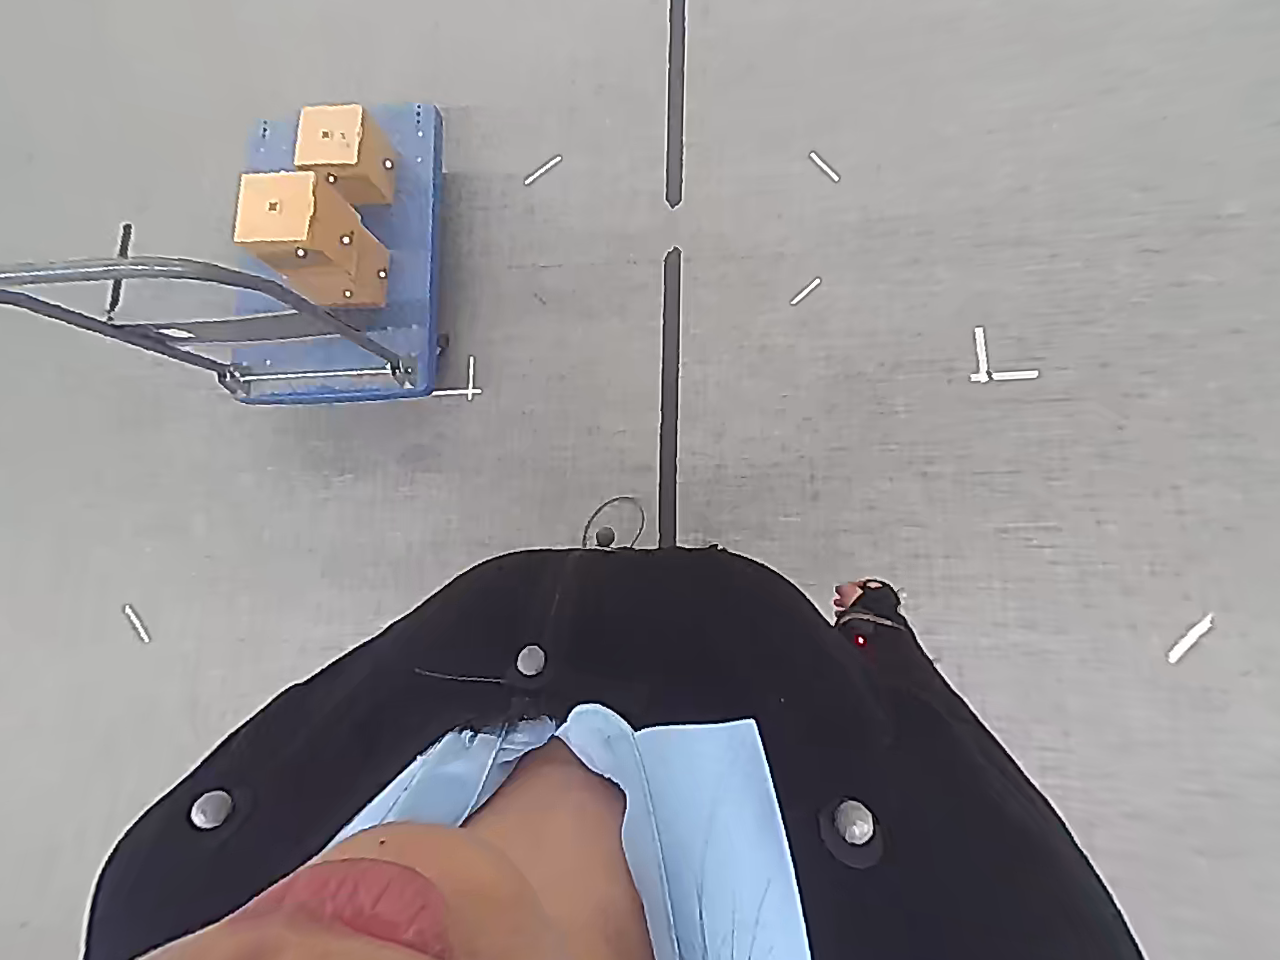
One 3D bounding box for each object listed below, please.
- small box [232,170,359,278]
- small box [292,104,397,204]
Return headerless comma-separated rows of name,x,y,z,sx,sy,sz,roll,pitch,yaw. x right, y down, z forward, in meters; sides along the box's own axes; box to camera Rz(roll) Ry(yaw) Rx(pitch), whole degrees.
small box,-0.790,-0.584,1.253,0.179,0.176,0.168,0,82,4
small box,-0.788,-0.868,1.453,0.179,0.176,0.168,2,84,6
